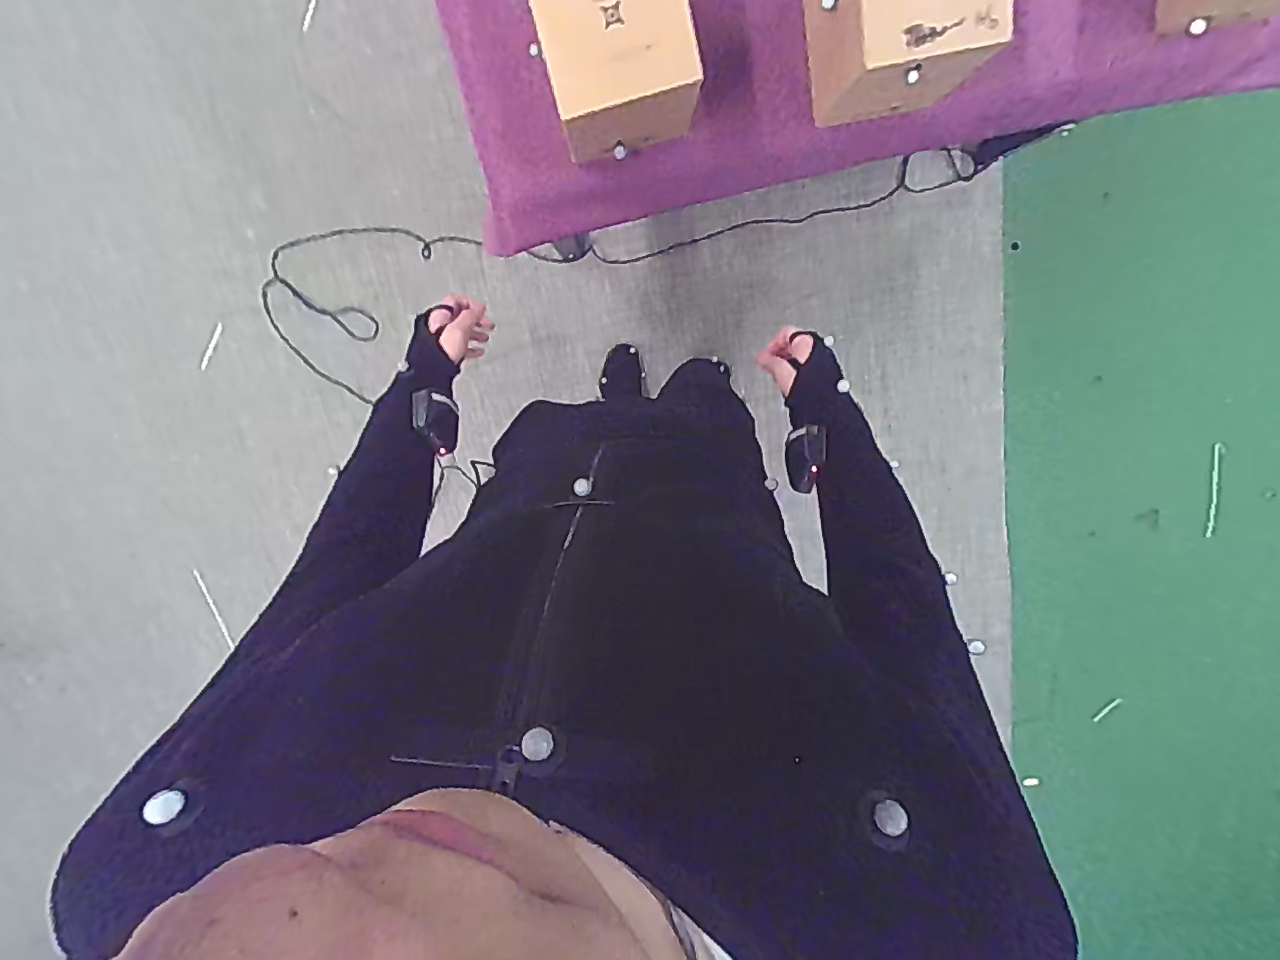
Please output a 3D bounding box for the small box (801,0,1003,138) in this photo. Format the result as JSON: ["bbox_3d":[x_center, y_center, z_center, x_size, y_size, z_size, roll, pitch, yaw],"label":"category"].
[{"bbox_3d":[0.309,-0.559,0.665,0.168,0.176,0.179,-10,103,1],"label":"small box"}]

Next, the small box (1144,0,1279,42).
[{"bbox_3d":[0.768,-0.671,0.654,0.168,0.176,0.179,-7,103,0],"label":"small box"}]
